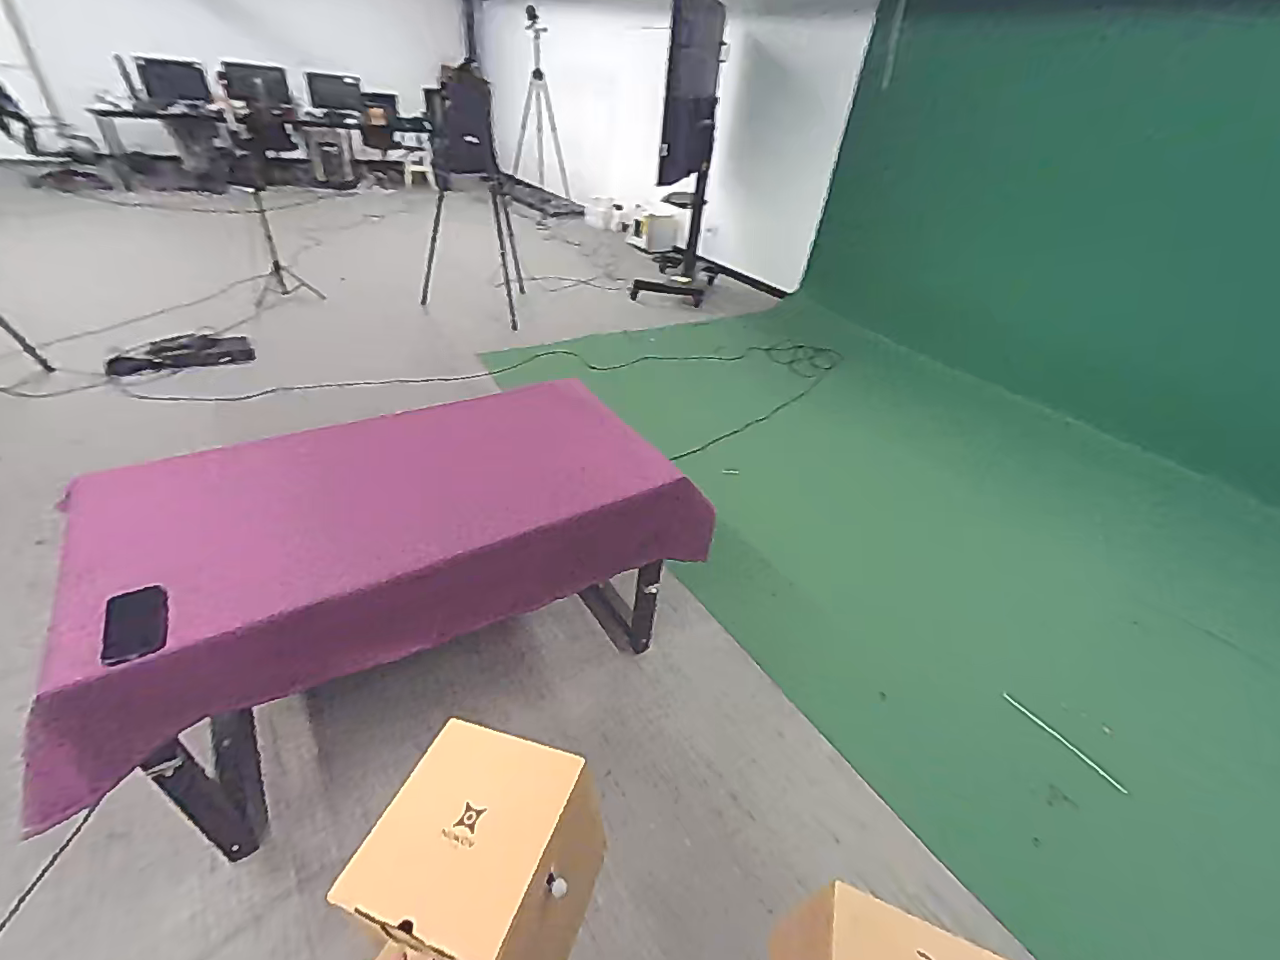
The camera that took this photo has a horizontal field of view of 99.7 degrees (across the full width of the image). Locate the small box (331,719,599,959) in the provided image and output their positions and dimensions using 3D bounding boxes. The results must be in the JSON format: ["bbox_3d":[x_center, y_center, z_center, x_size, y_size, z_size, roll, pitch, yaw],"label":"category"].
[{"bbox_3d":[-0.149,0.379,0.532,0.168,0.176,0.179,6,35,20],"label":"small box"}]
